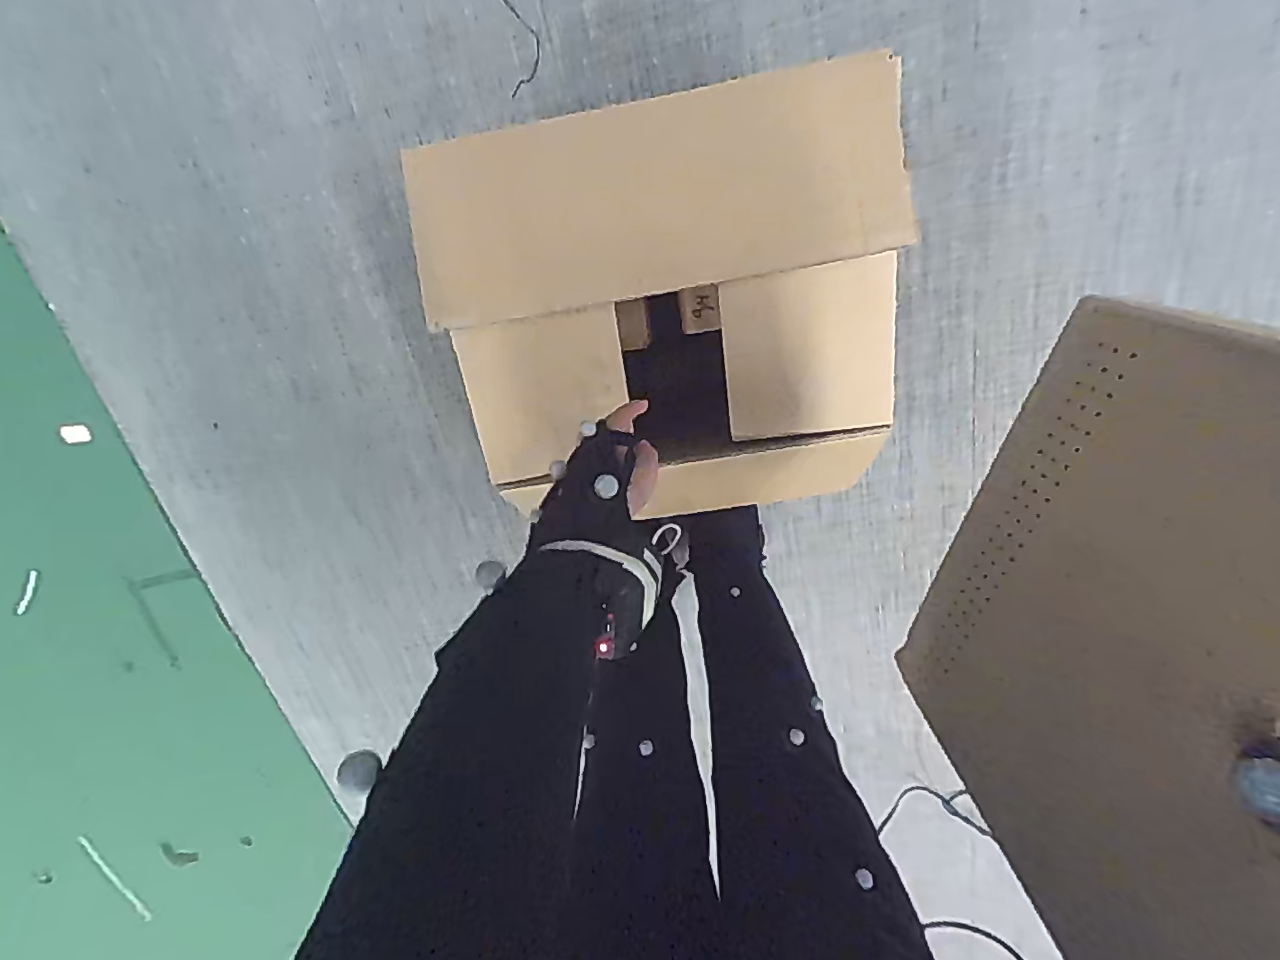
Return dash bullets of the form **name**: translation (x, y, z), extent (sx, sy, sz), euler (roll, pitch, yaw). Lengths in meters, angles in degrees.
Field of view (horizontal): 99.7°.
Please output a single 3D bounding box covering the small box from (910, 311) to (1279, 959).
- **small box**: translation (0.216, 0.060, 0.161), extent (0.168, 0.176, 0.179), euler (8, 118, -5)
